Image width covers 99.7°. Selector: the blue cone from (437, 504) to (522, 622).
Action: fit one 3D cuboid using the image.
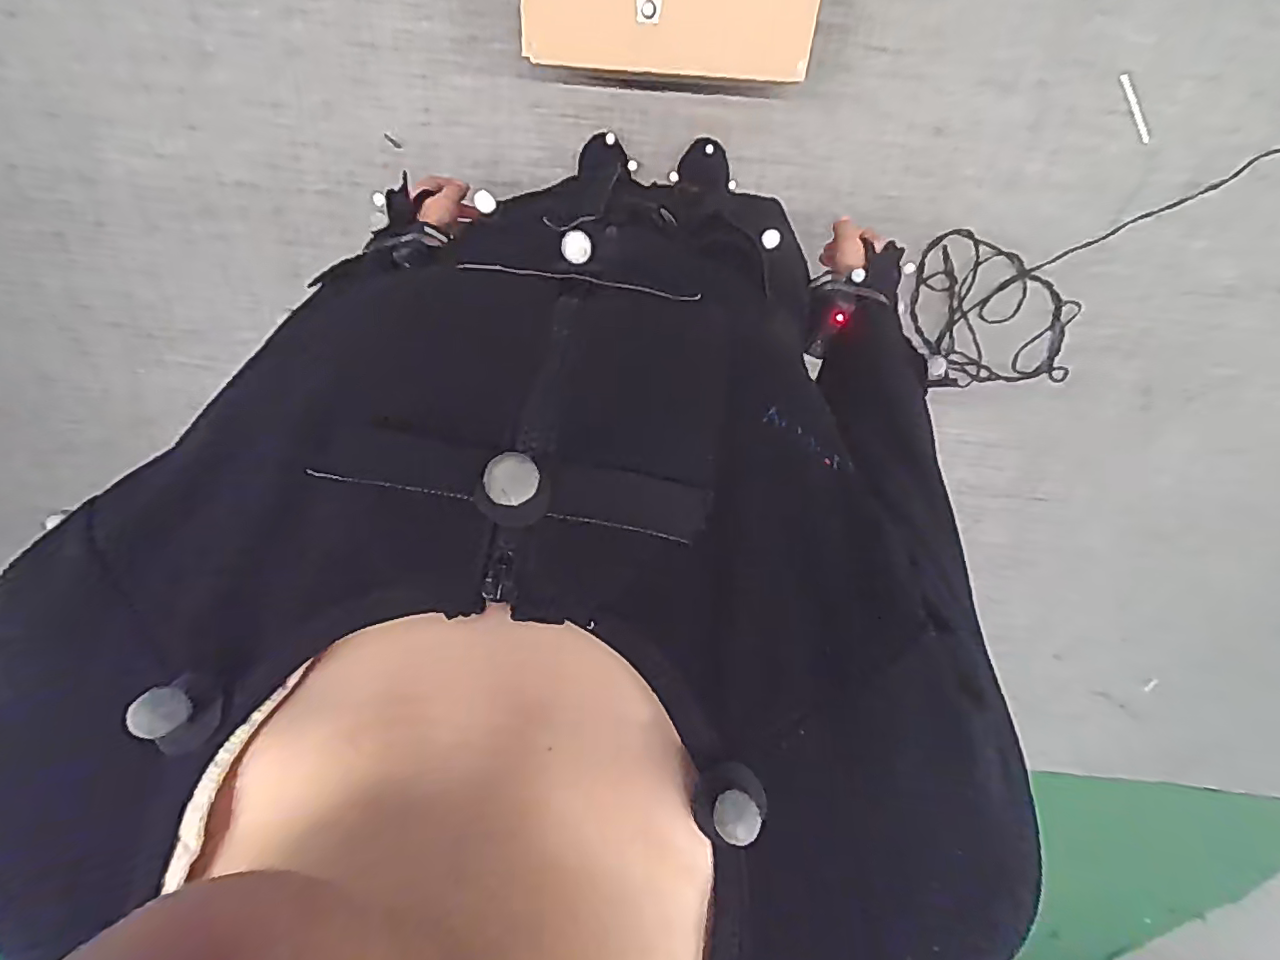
[{"bbox_3d":[-0.468,0.244,1.511,0.192,0.380,0.193,6,123,1],"label":"blue cone"}]
